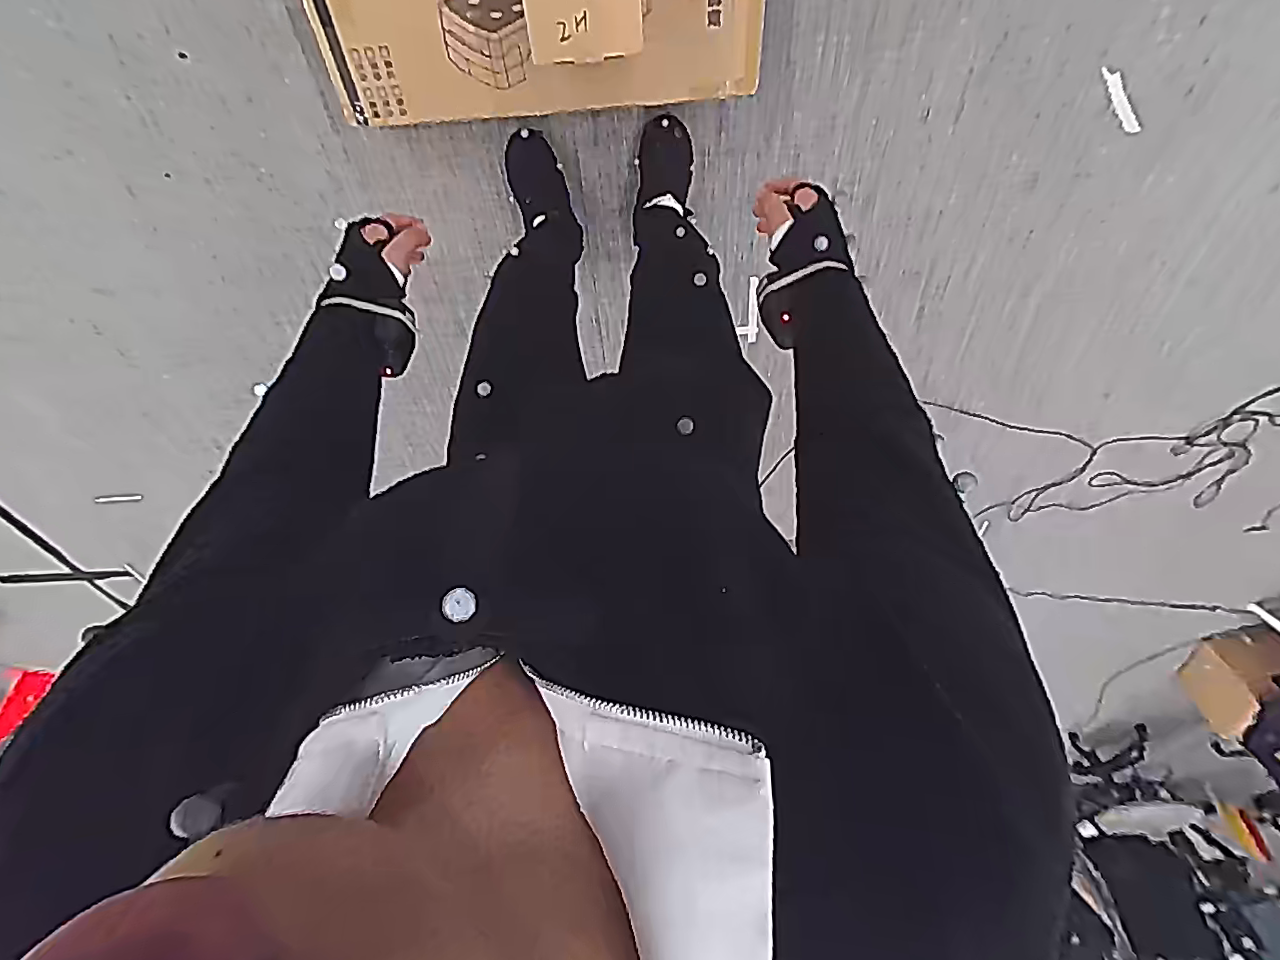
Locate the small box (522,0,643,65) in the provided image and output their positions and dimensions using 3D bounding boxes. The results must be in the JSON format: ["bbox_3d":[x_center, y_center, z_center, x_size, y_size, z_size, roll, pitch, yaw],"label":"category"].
[{"bbox_3d":[-0.084,-0.729,0.788,0.168,0.176,0.179,-4,133,2],"label":"small box"}]
